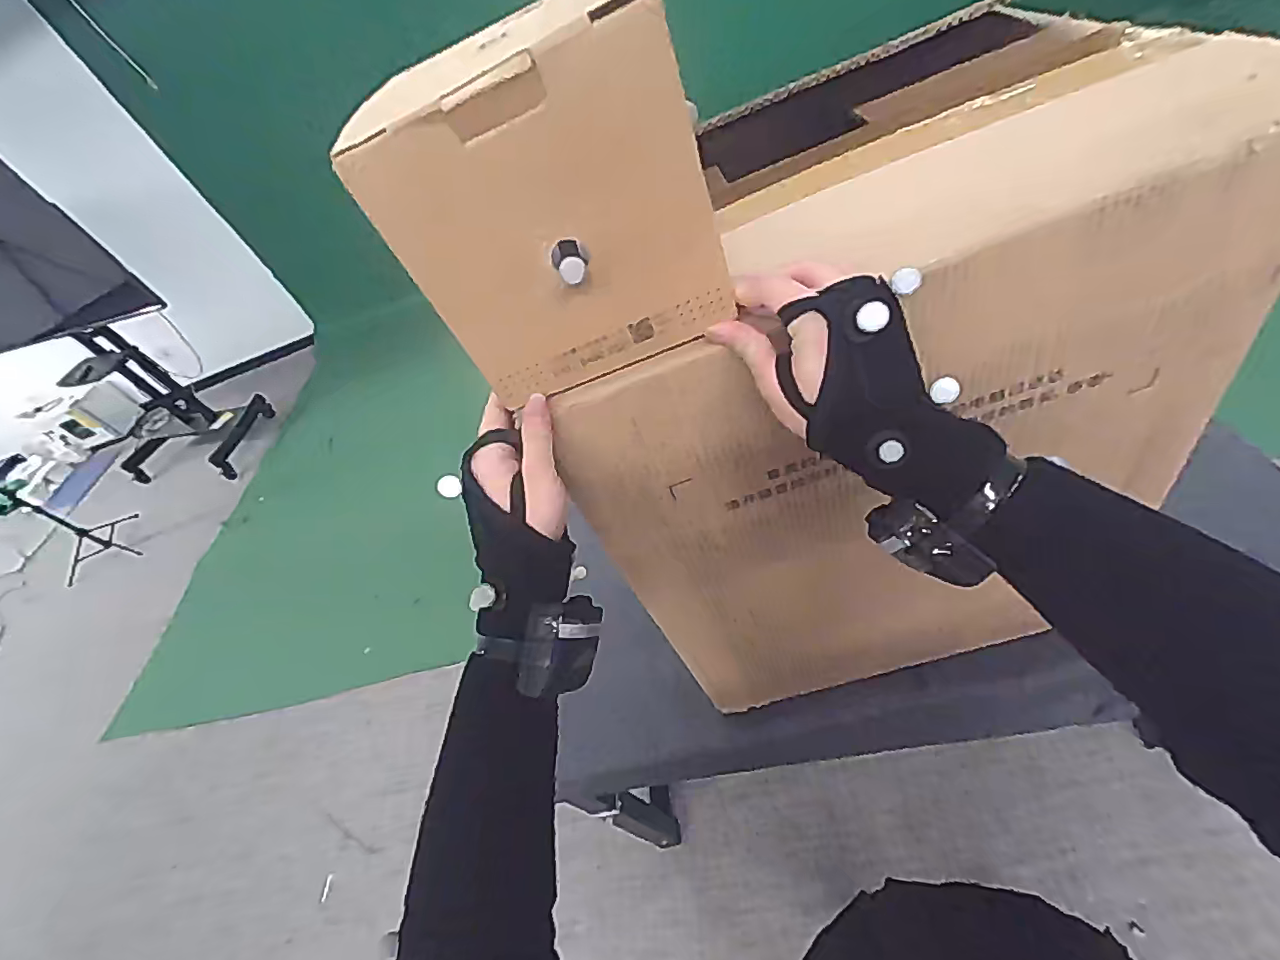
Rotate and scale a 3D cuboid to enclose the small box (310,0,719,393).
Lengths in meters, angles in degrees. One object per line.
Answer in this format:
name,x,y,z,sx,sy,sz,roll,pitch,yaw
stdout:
small box,-0.060,-0.178,0.346,0.168,0.176,0.179,-20,47,9
